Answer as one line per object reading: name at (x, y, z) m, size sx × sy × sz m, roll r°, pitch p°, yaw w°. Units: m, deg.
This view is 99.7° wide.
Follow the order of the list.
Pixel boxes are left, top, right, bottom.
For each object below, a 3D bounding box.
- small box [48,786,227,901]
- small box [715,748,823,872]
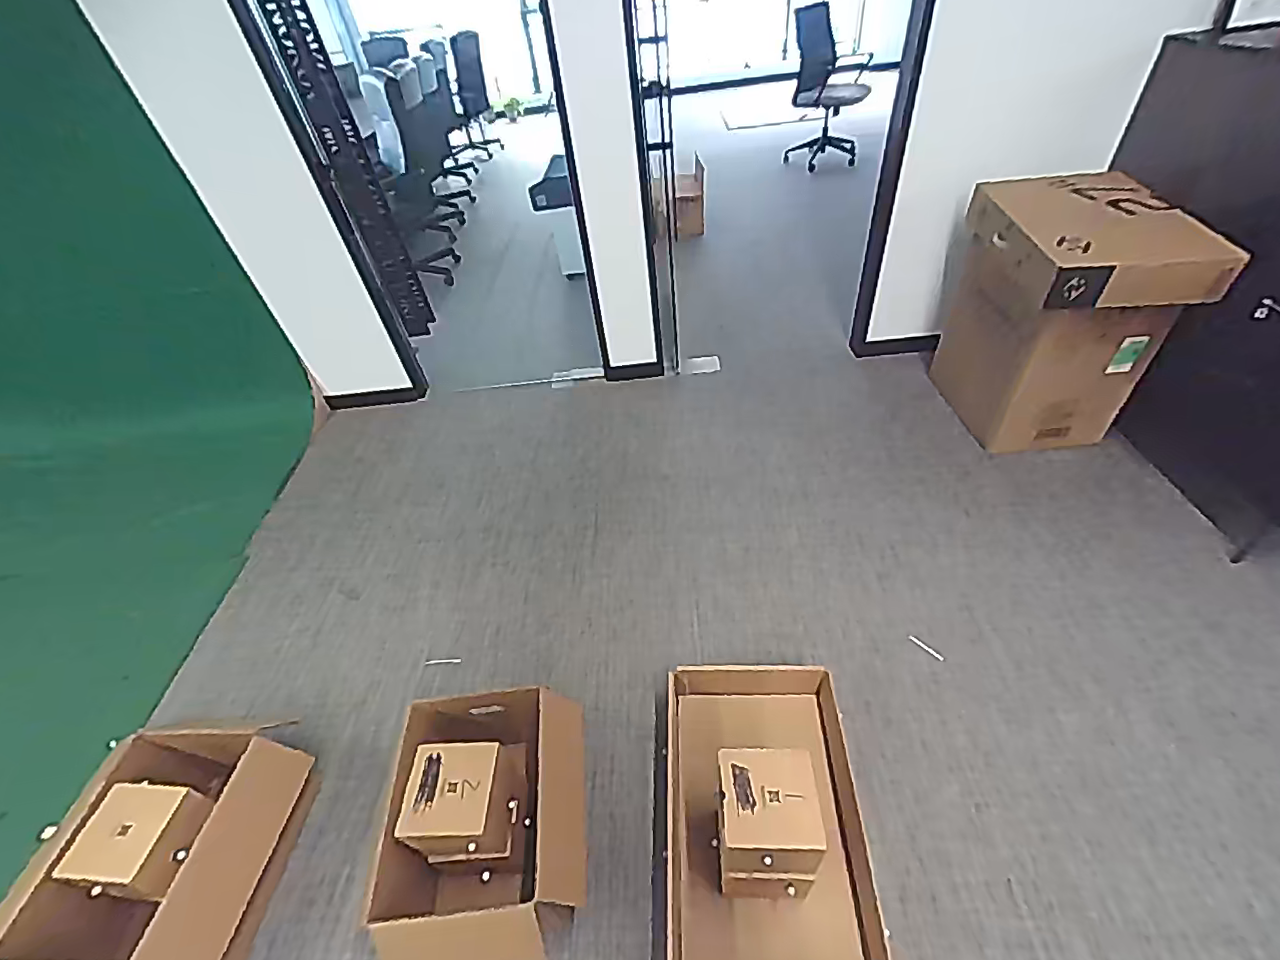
small box at (-1.024, 0.758, 1.125) m, size 0.179 × 0.176 × 0.168 m, roll -1°, pitch 43°, yaw 6°
small box at (0.236, 0.633, 1.036) m, size 0.179 × 0.176 × 0.168 m, roll -2°, pitch 42°, yaw 4°
